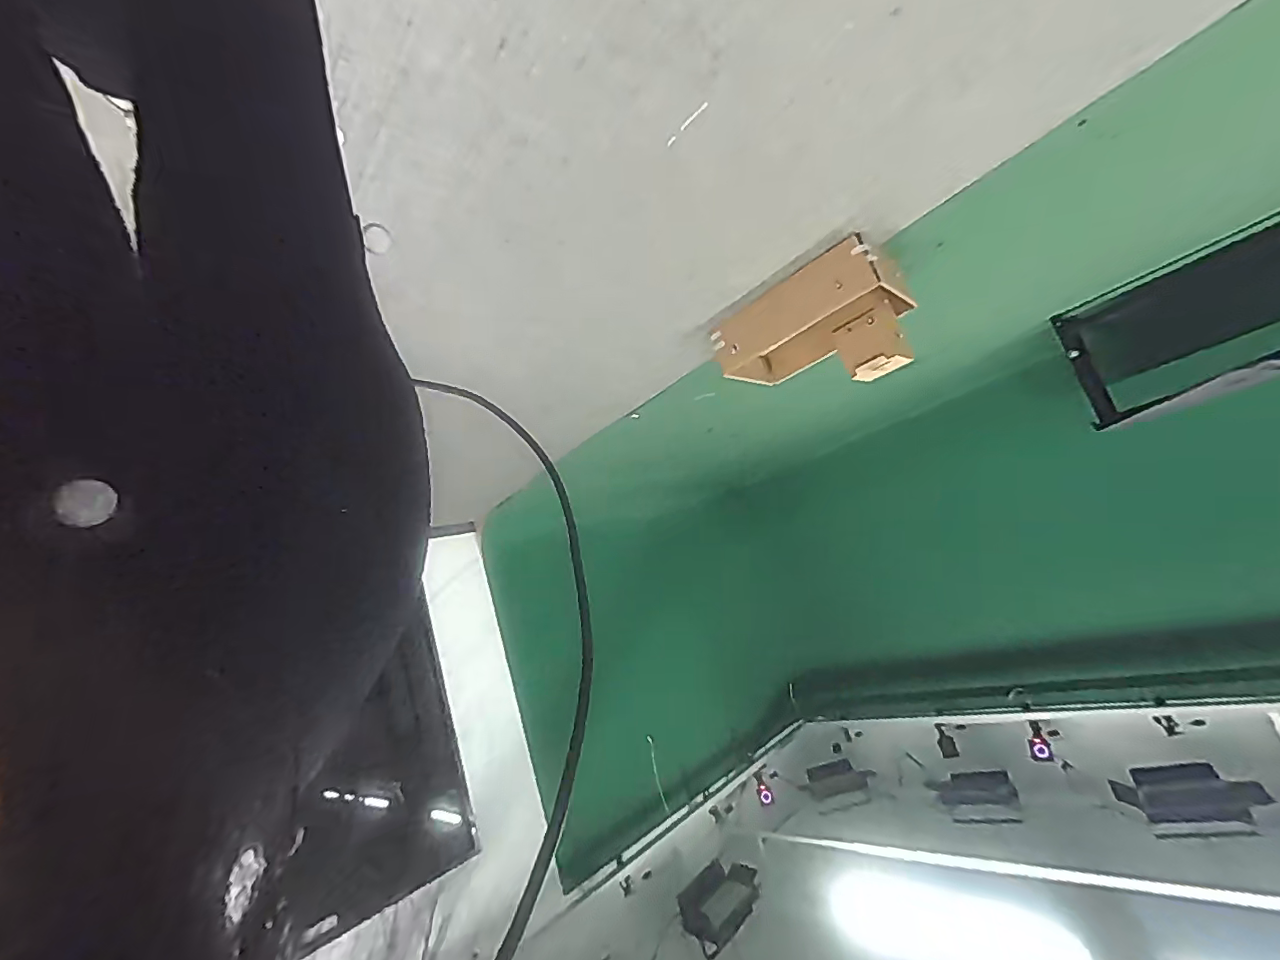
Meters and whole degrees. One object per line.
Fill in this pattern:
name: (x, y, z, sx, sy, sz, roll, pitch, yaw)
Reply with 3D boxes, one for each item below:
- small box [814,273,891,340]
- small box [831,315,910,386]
small box: (0.732, -0.589, 1.865, 0.179, 0.176, 0.168, -4, 163, -45)
small box: (0.773, -0.436, 1.820, 0.179, 0.176, 0.168, -5, 164, -46)
